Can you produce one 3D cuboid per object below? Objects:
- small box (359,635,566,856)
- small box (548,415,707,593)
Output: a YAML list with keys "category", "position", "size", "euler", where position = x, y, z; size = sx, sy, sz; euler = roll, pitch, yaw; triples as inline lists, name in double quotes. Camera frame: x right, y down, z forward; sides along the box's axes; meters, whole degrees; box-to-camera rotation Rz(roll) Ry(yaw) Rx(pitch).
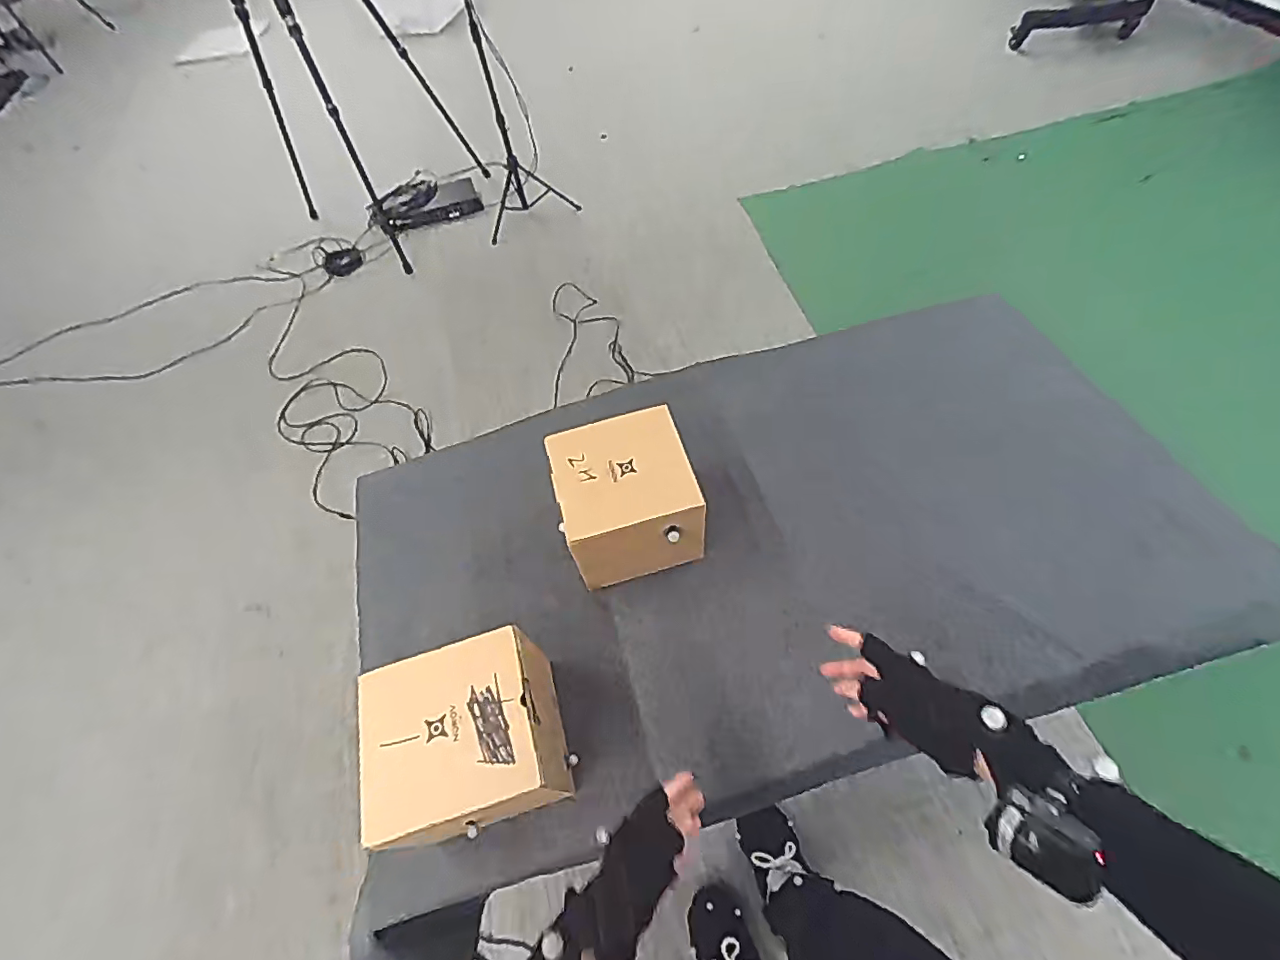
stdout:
- category: "small box"
  position: [-0.189, 0.299, 0.611]
  size: [0.179, 0.176, 0.168]
  euler: [-17, 57, -5]
- category: "small box"
  position: [-0.016, 0.039, 0.758]
  size: [0.179, 0.176, 0.168]
  euler: [-15, 58, -4]
